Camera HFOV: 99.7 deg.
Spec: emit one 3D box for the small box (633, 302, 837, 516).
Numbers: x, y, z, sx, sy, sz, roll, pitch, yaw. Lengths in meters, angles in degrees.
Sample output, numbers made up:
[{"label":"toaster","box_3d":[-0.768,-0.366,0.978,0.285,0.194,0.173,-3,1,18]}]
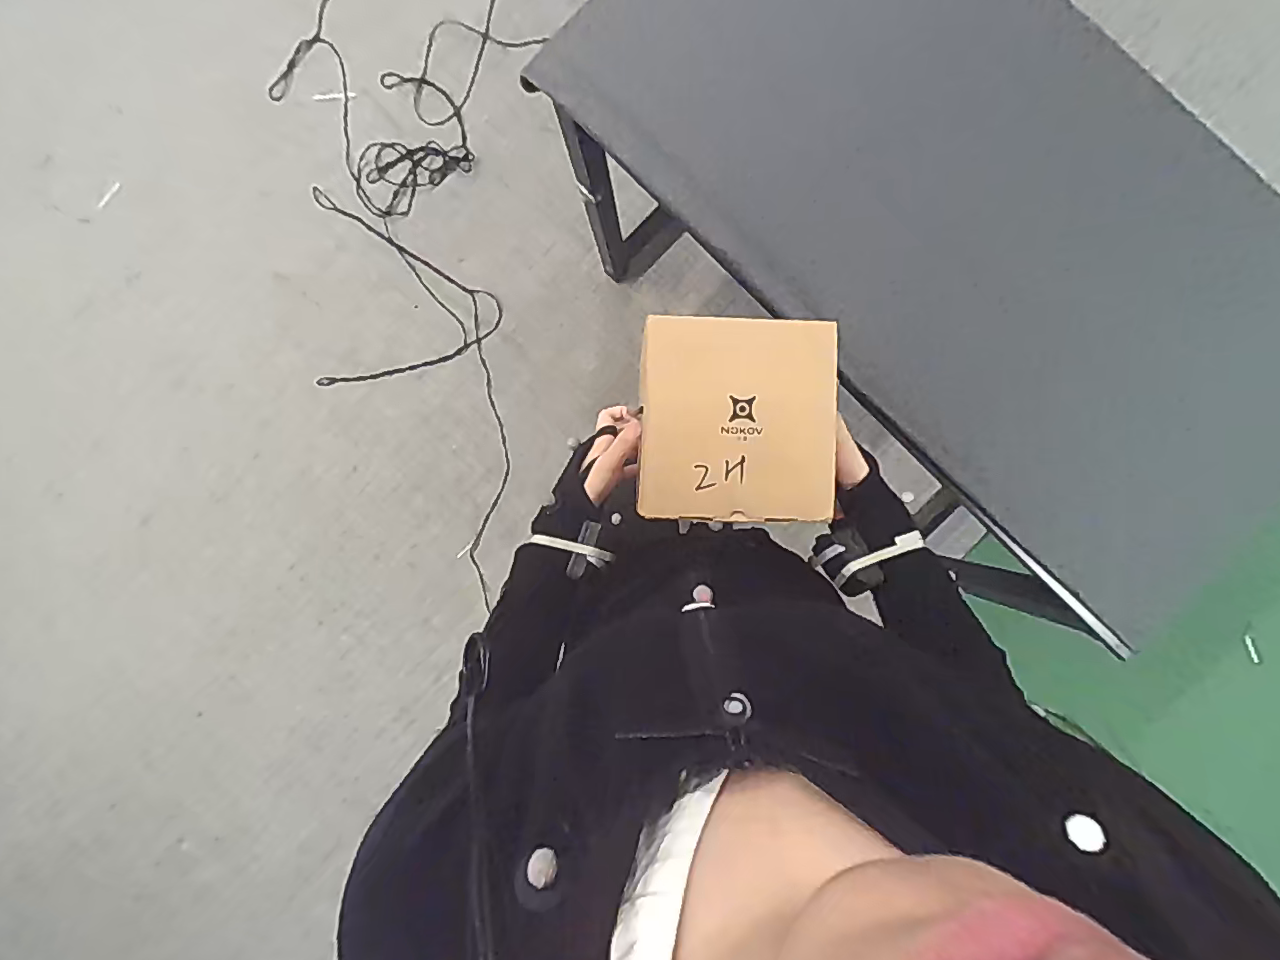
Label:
[{"label":"small box","box_3d":[0.079,-0.057,0.532,0.168,0.176,0.179,2,88,-2]}]
